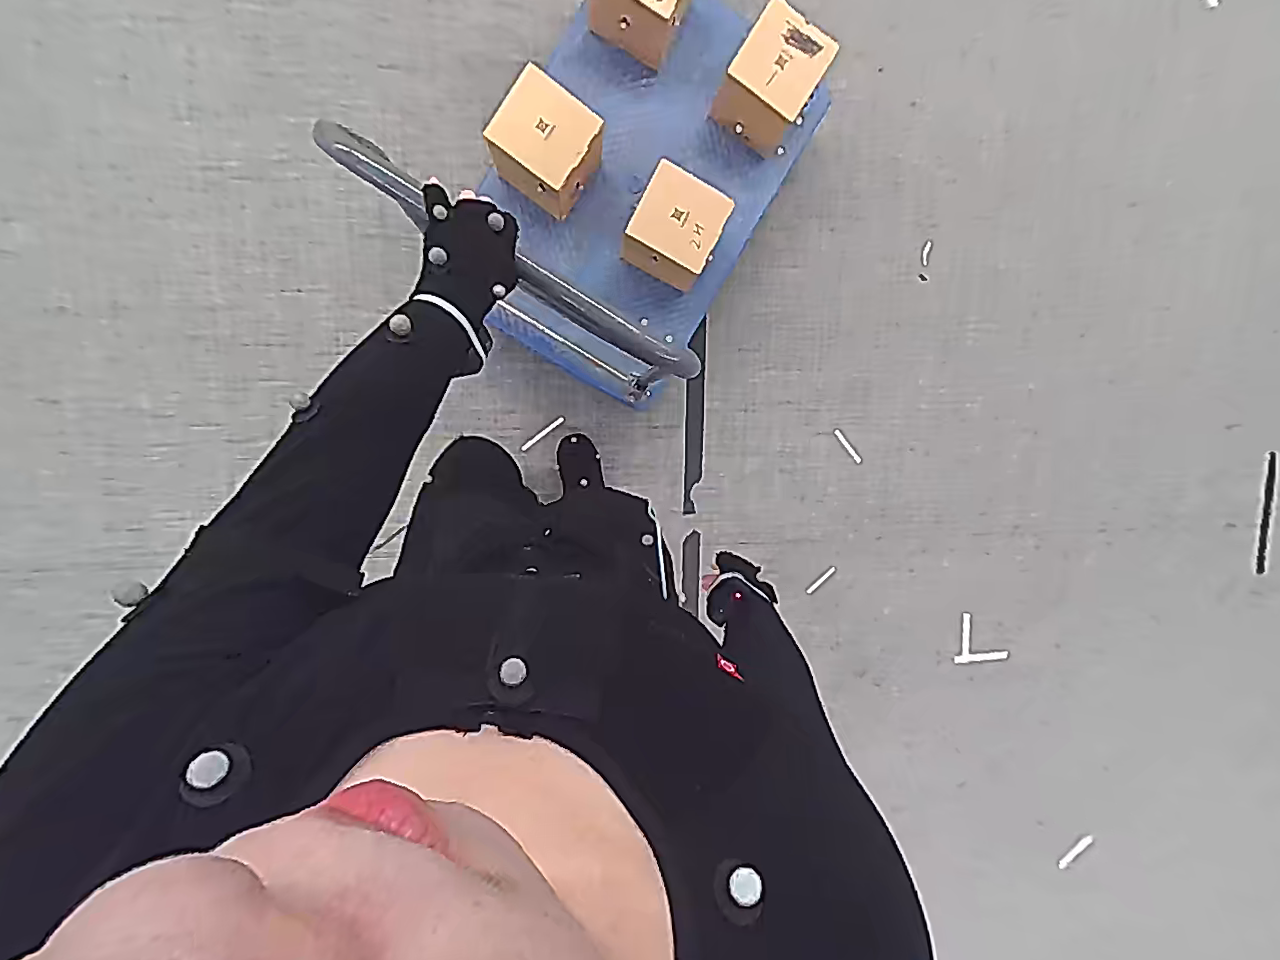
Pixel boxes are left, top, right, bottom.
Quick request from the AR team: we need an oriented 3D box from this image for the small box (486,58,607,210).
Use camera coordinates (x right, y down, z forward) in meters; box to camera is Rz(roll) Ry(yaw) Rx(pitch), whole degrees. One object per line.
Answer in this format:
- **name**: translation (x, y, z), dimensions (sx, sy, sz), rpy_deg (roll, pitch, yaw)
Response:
- **small box**: translation (-0.189, -0.695, 1.115), dimensions (0.179, 0.176, 0.168), rpy_deg (34, 92, -11)

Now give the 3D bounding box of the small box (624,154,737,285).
- **small box**: translation (0.077, -0.544, 1.162), dimensions (0.179, 0.176, 0.168), rpy_deg (27, 94, -9)

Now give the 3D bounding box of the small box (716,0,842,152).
- **small box**: translation (0.281, -0.848, 1.143), dimensions (0.168, 0.176, 0.179), rpy_deg (33, 94, -9)
